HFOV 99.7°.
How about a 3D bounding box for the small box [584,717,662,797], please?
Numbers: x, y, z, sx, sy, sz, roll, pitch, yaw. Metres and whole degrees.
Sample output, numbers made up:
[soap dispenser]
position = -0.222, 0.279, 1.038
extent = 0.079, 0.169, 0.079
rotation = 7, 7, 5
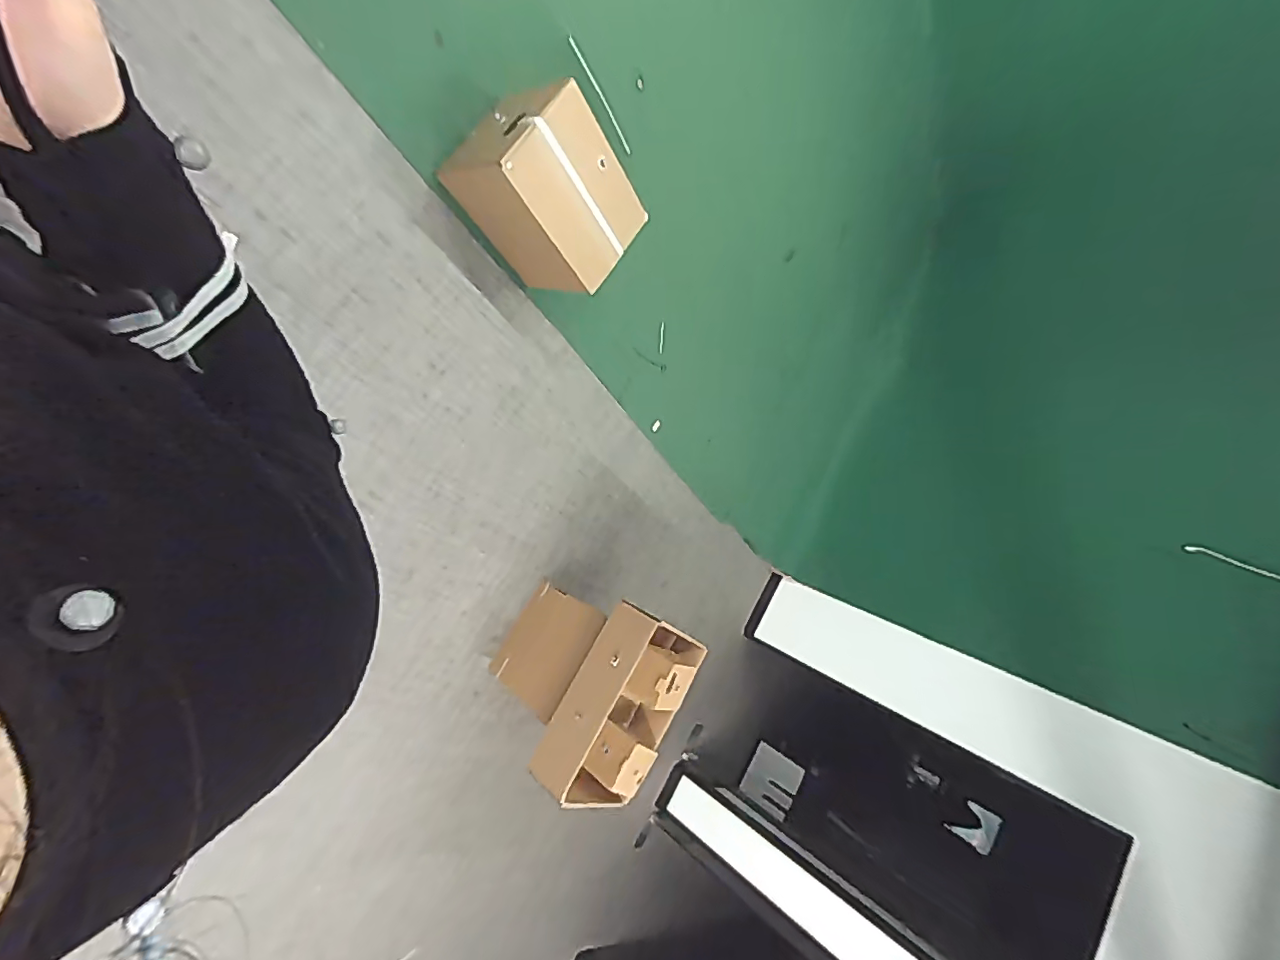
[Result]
[small box]
position = -0.061, 0.940, 1.847
extent = 0.168, 0.176, 0.179
rotation = -54, 137, -17
